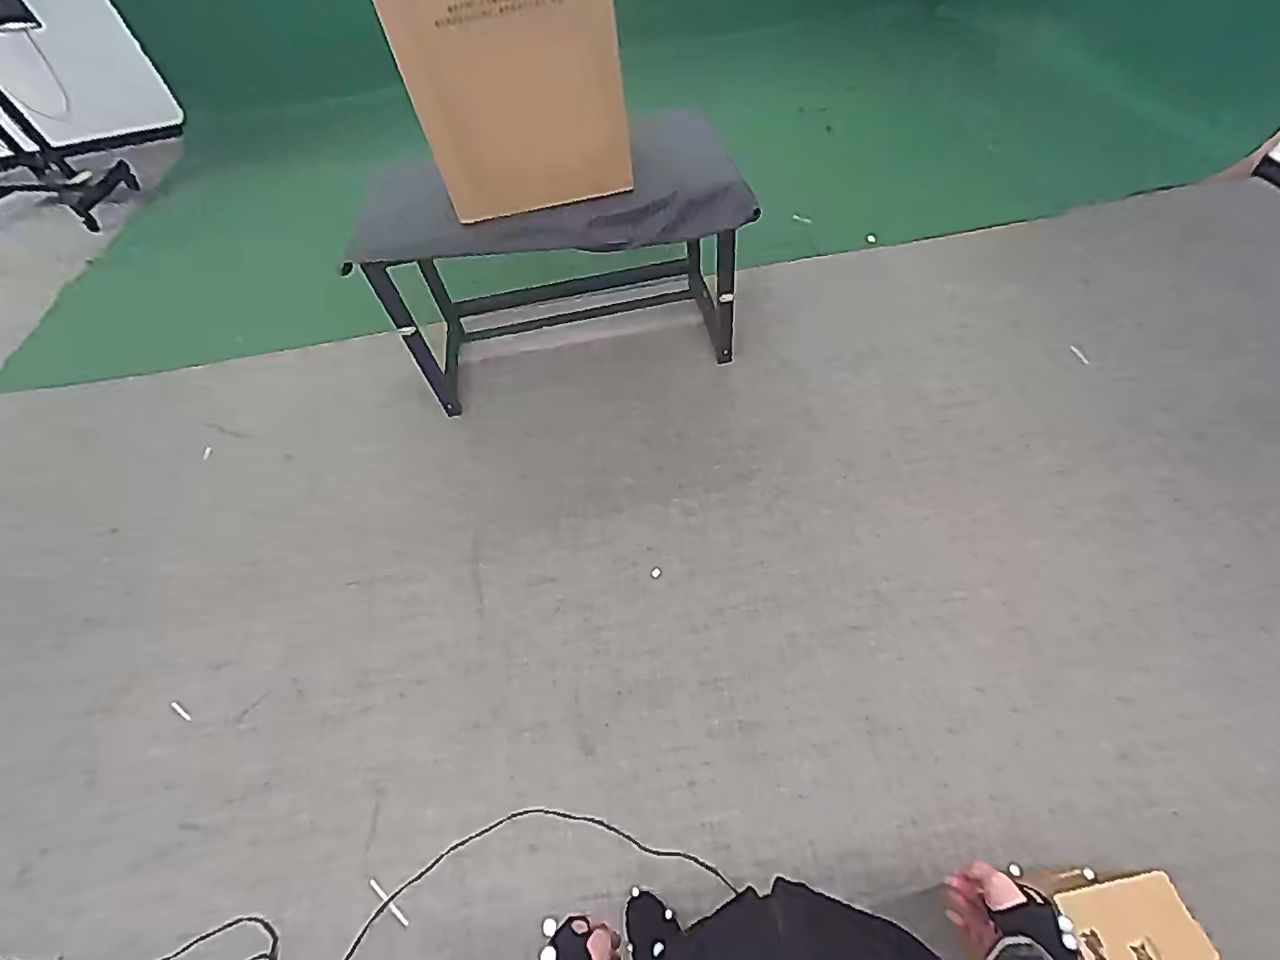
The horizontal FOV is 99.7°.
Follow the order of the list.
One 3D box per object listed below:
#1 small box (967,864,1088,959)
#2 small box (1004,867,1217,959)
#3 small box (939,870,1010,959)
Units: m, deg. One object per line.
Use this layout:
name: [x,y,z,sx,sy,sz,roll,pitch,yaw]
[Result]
small box: [0.724,0.798,0.951,0.168,0.176,0.179,-13,53,-3]
small box: [0.710,0.702,0.820,0.179,0.176,0.168,-11,54,-3]
small box: [0.739,0.900,1.079,0.168,0.176,0.179,-13,52,-3]
